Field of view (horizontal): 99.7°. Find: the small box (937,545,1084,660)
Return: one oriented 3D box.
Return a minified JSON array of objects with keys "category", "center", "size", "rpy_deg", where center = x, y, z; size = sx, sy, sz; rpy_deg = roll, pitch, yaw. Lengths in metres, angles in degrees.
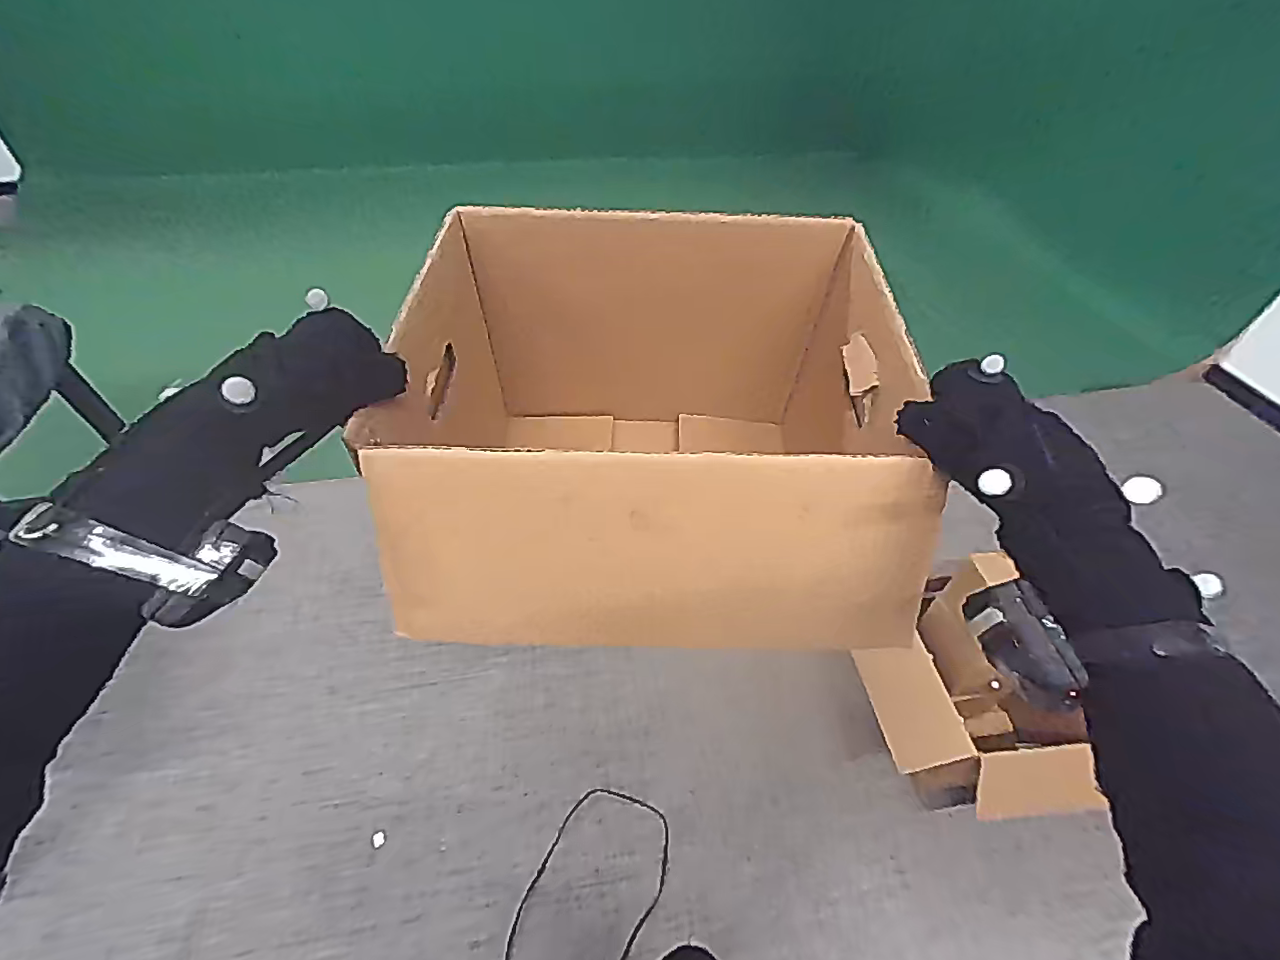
[{"category":"small box","center":[0.784,0.266,1.172],"size":[0.168,0.176,0.179],"rpy_deg":[-5,46,-4]}]
